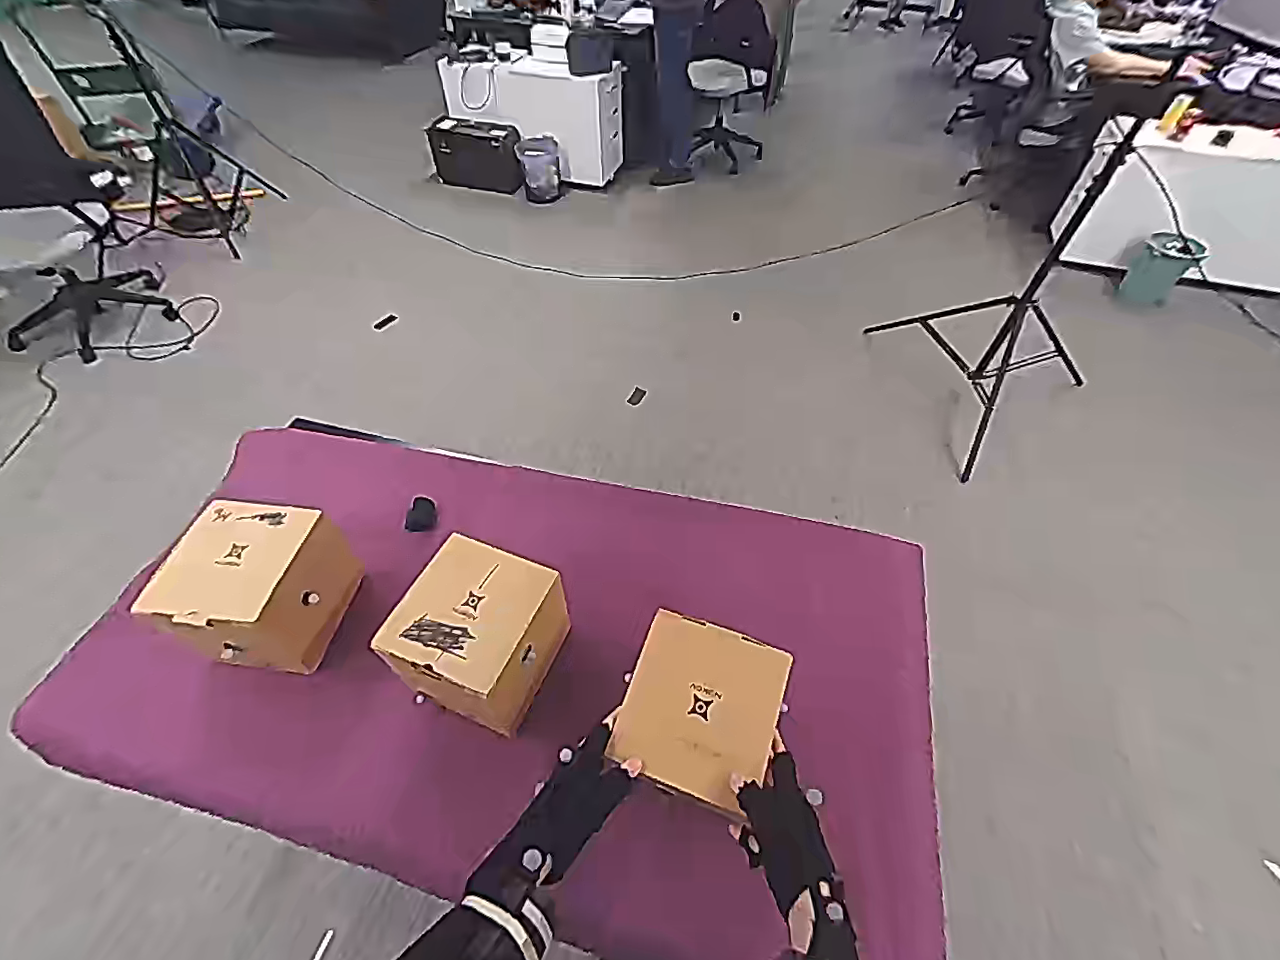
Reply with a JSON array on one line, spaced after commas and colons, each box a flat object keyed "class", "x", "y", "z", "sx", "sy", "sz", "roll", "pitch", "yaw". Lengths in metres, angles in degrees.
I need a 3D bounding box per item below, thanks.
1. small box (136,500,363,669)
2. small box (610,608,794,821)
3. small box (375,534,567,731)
[{"class": "small box", "x": -0.532, "y": 0.154, "z": 0.774, "sx": 0.168, "sy": 0.176, "sz": 0.179, "roll": 6, "pitch": 51, "yaw": 4}, {"class": "small box", "x": 0.076, "y": 0.289, "z": 0.661, "sx": 0.168, "sy": 0.176, "sz": 0.179, "roll": 16, "pitch": 59, "yaw": 14}, {"class": "small box", "x": -0.210, "y": 0.209, "z": 0.733, "sx": 0.168, "sy": 0.176, "sz": 0.179, "roll": 18, "pitch": 51, "yaw": 14}]
